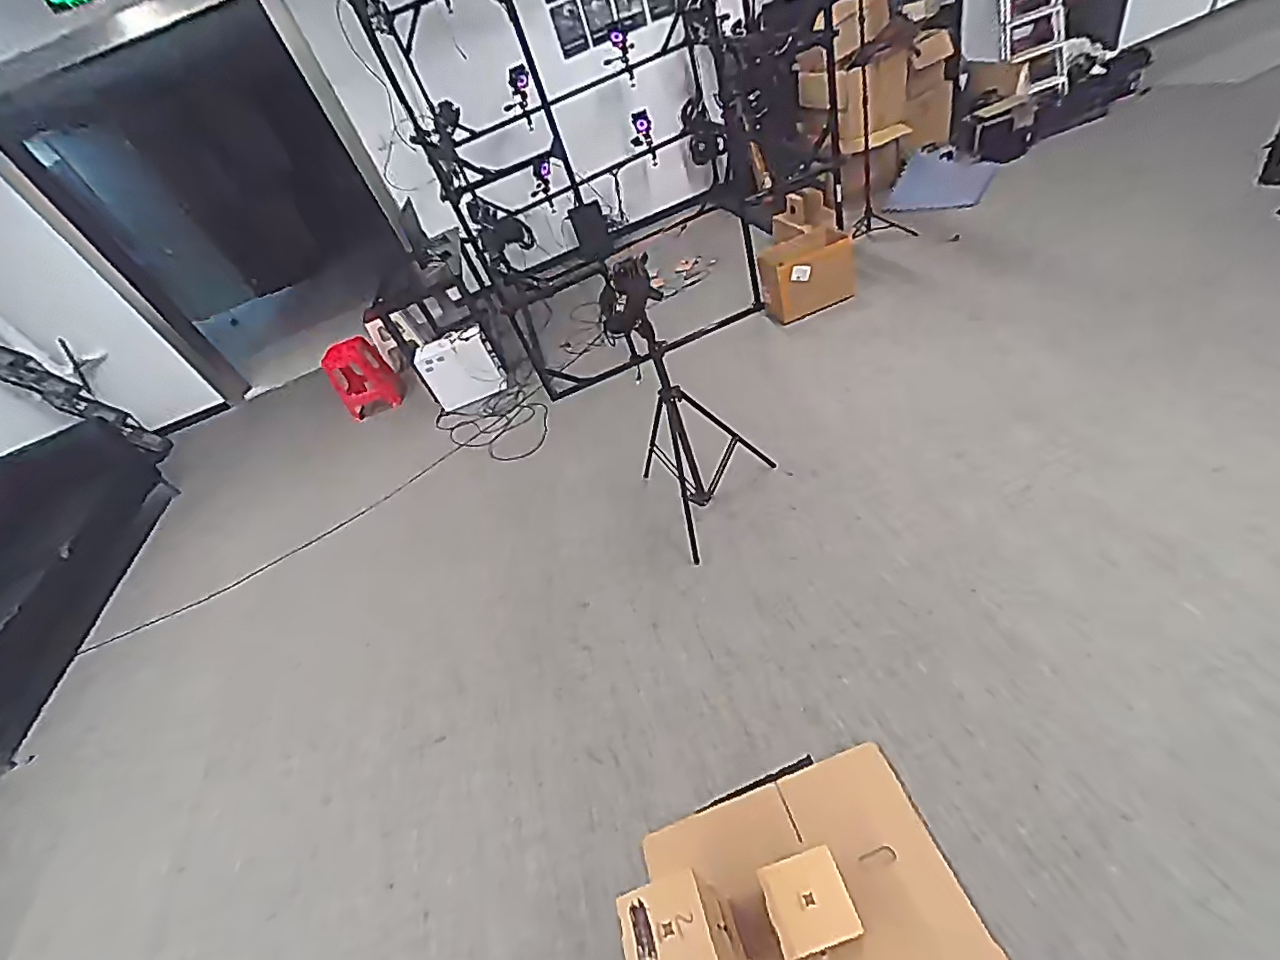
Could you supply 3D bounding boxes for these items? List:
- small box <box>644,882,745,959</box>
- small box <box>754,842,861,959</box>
[{"bbox_3d":[0.130,1.051,1.225,0.179,0.176,0.168,-24,40,1],"label":"small box"},{"bbox_3d":[0.377,0.955,1.220,0.179,0.176,0.168,-22,41,1],"label":"small box"}]
